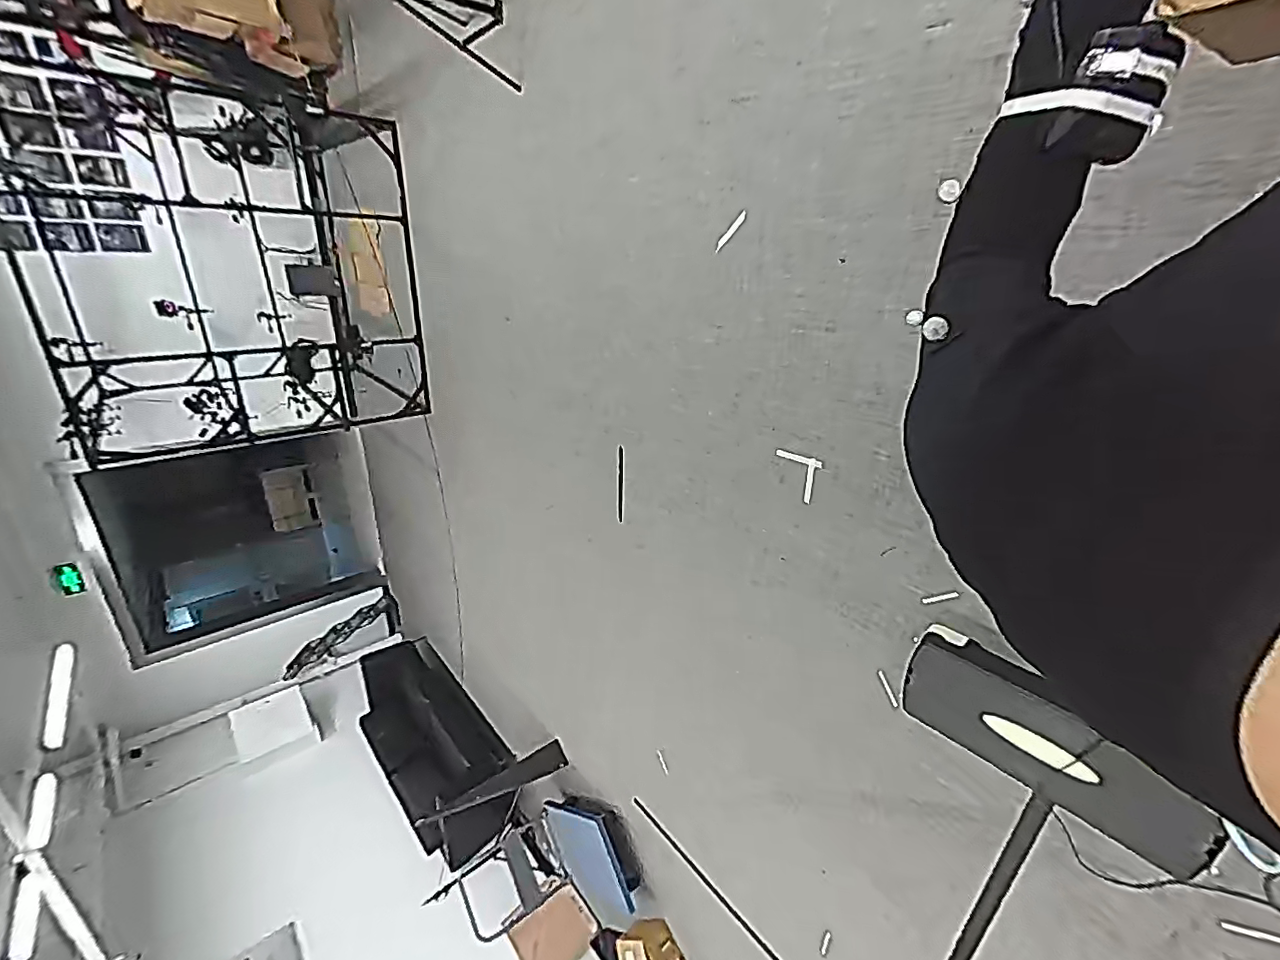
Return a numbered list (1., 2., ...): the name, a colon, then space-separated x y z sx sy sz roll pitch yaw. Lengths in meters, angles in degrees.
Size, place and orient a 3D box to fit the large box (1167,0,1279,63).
1. large box: 0.561 -0.441 0.233 0.408 0.320 0.320 21 126 46
